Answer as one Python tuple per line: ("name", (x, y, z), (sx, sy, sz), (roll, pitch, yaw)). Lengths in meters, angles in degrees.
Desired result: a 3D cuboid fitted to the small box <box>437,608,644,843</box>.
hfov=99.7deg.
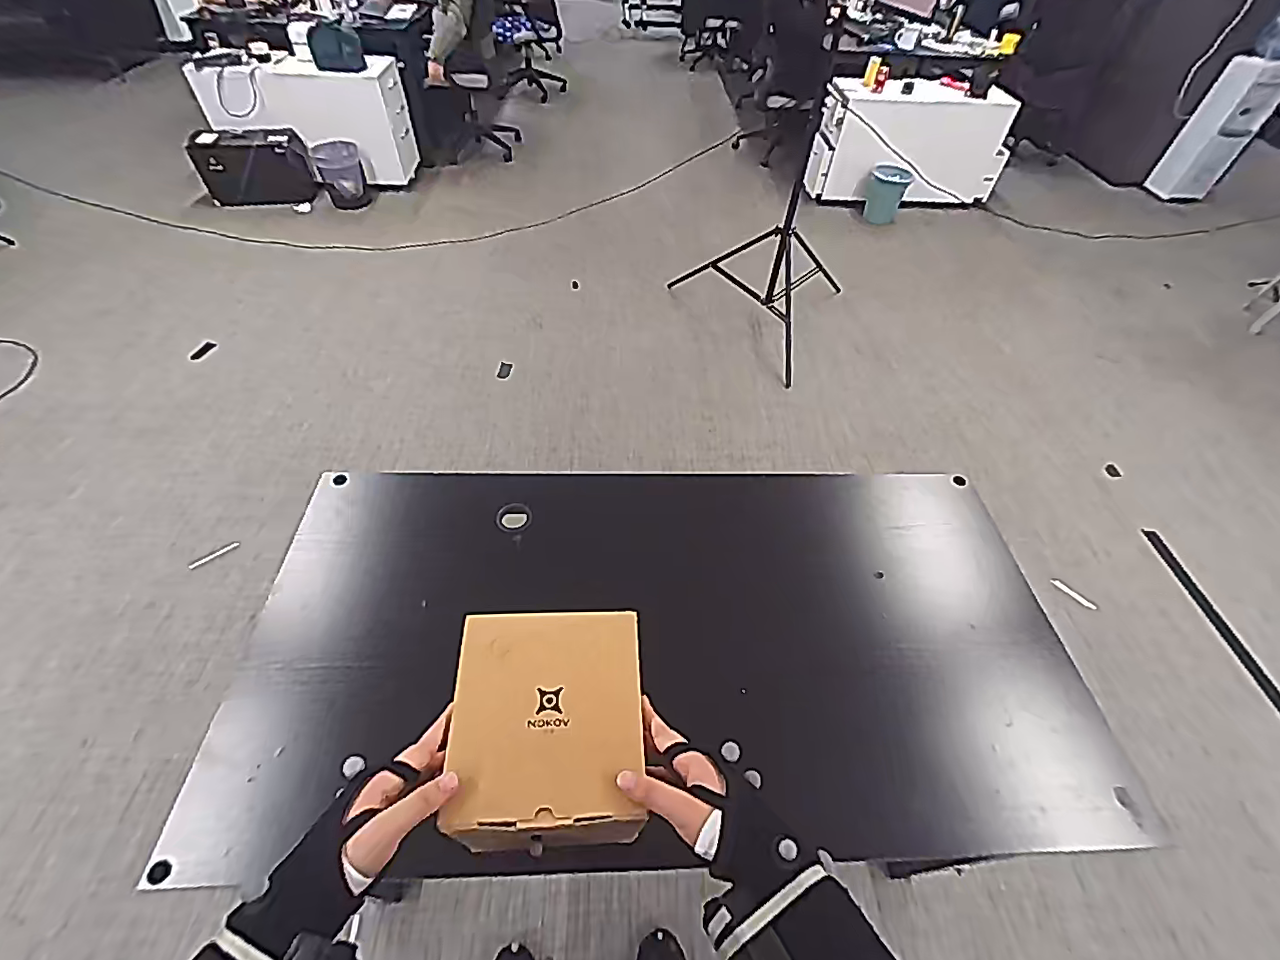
("small box", (-0.088, 0.245, 0.538), (0.168, 0.176, 0.179), (-1, 52, -5))
